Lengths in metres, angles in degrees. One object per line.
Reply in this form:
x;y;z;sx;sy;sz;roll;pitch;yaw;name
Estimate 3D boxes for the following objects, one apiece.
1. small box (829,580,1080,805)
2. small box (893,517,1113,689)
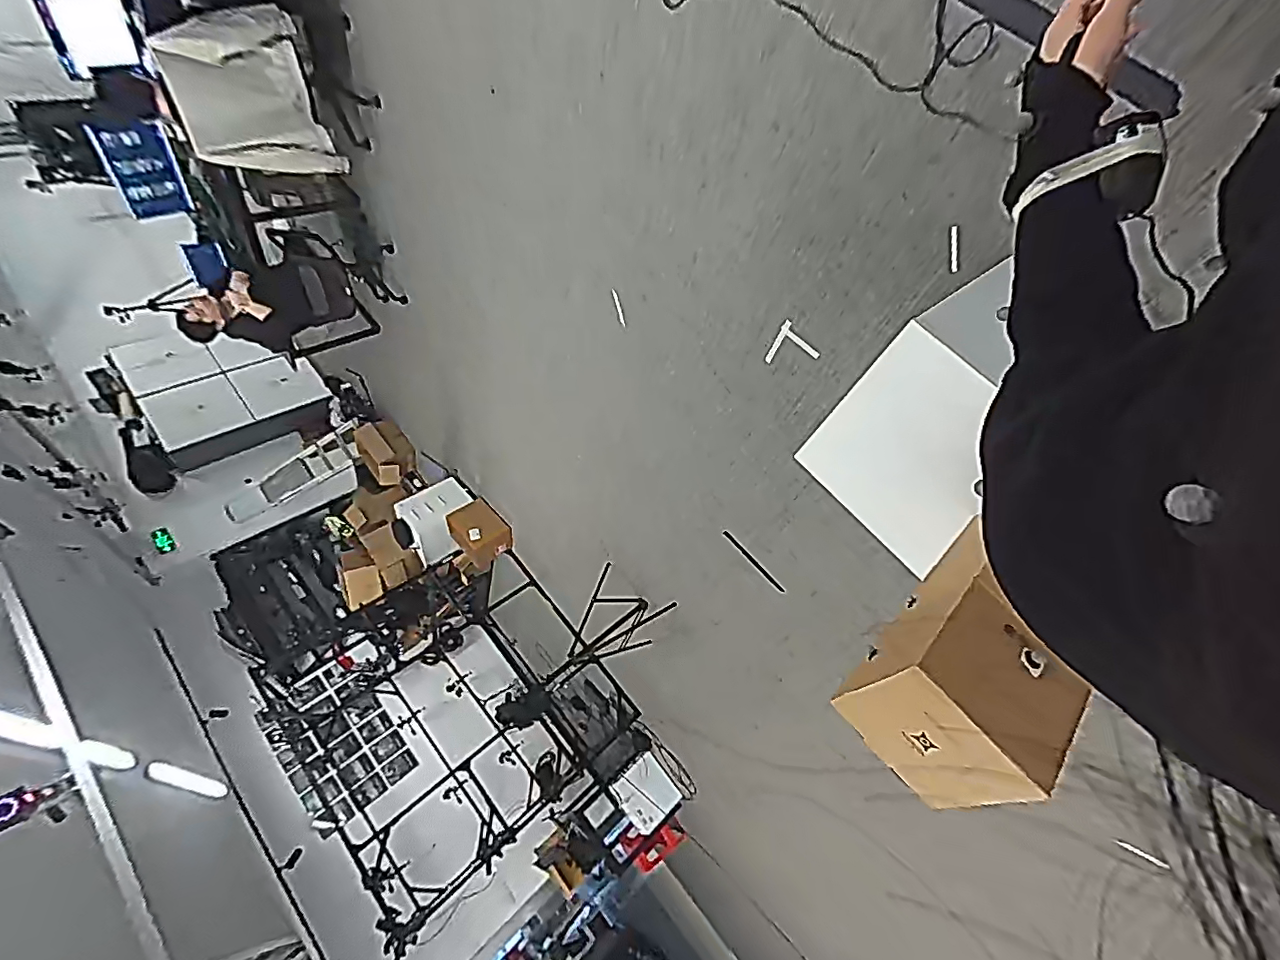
0.374;0.254;0.652;0.168;0.176;0.179;46;146;16;small box
0.491;0.181;0.737;0.168;0.176;0.179;47;147;16;small box
